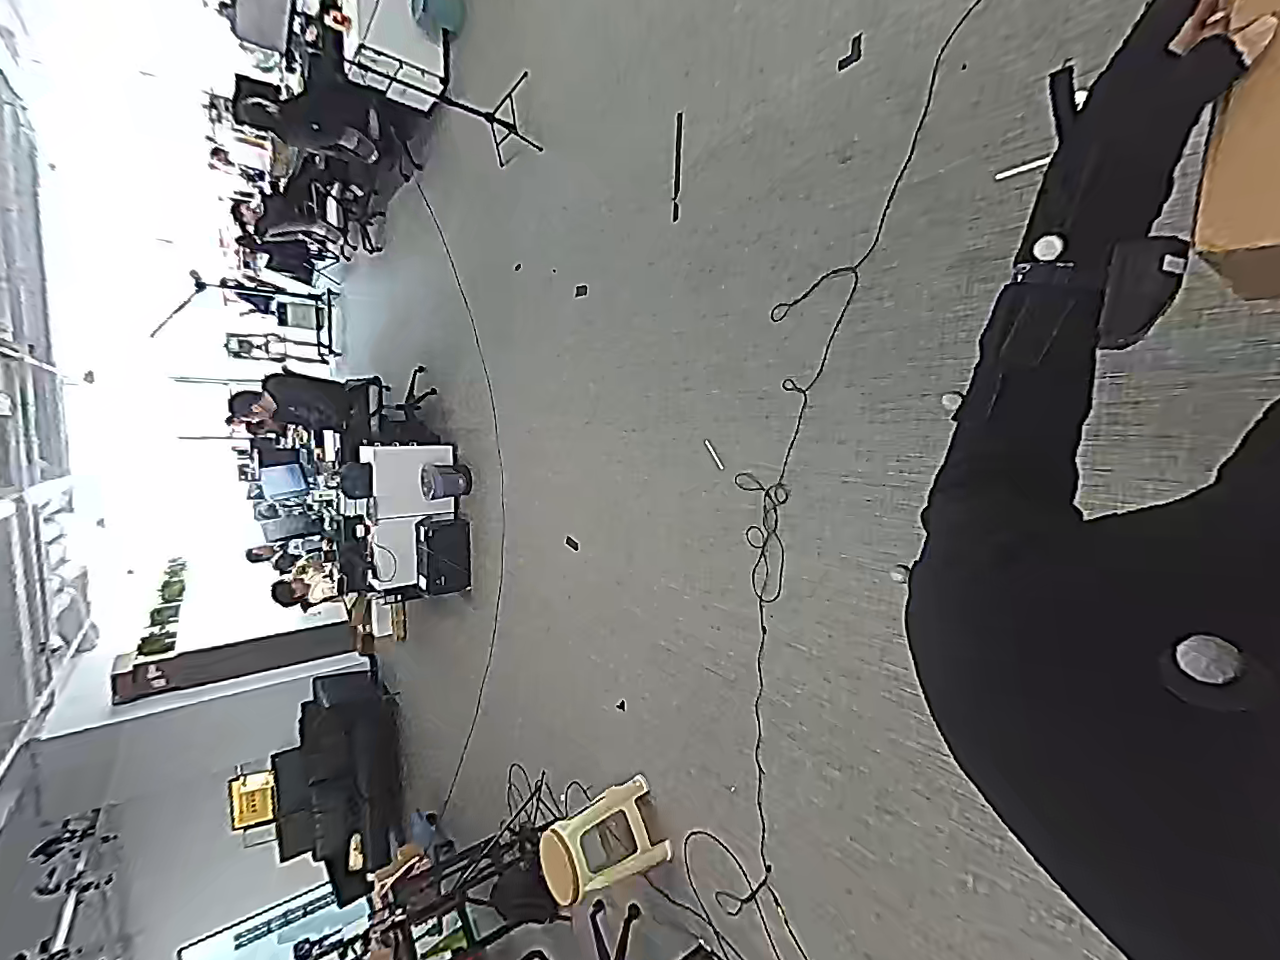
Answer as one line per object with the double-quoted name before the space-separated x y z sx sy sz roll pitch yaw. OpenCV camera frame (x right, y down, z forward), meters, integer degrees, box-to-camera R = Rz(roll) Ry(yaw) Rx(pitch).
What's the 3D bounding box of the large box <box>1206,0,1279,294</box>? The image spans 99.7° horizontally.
"large box" 0.570 -0.283 0.239 0.408 0.320 0.320 12 106 50
